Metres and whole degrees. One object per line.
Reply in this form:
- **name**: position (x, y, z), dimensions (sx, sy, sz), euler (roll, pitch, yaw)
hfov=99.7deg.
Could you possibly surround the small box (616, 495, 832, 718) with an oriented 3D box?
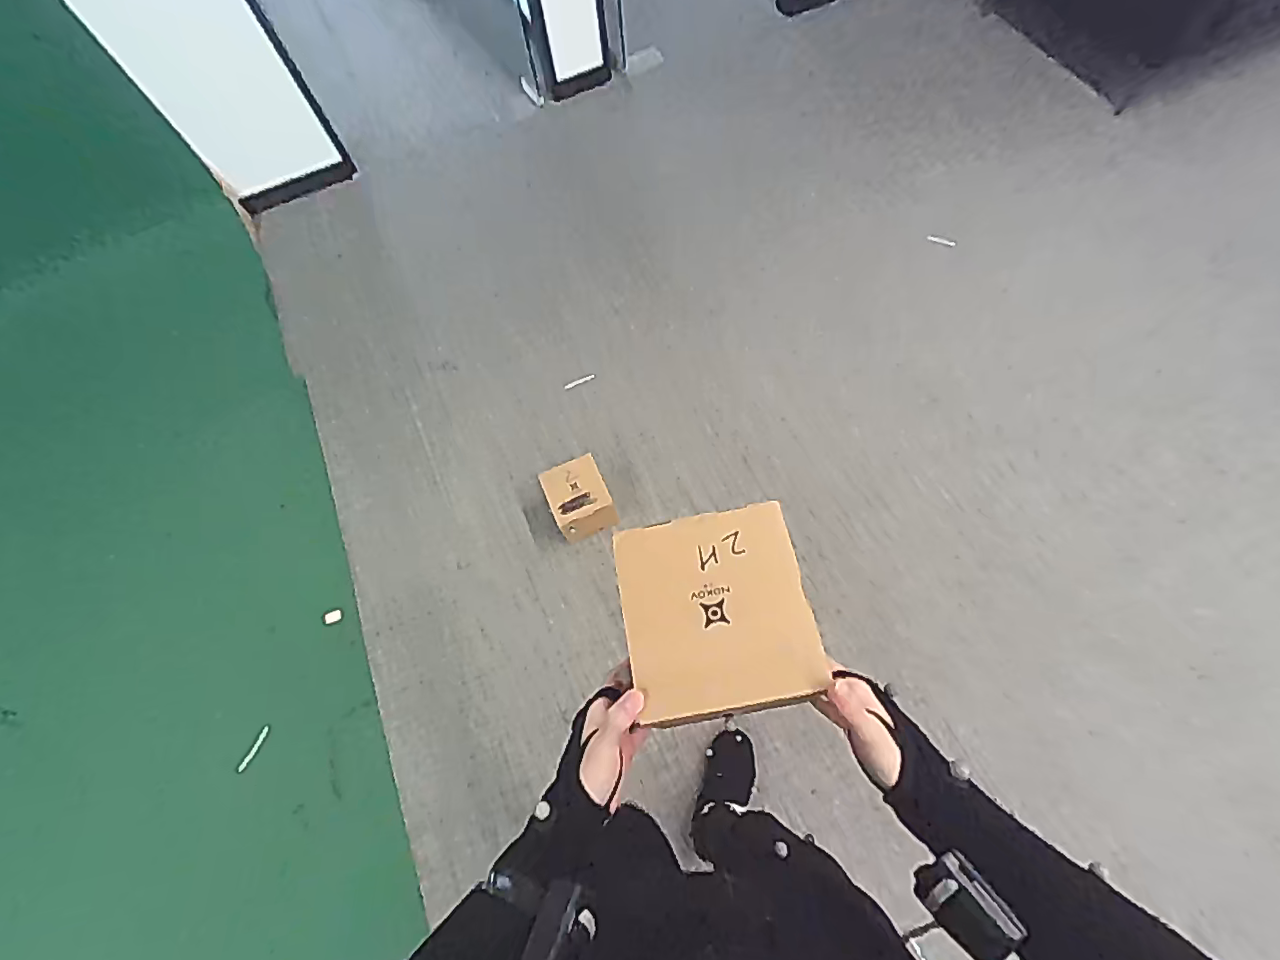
- **small box**: position (0.080, 0.140, 0.557), dimensions (0.168, 0.176, 0.179), euler (-12, 62, 2)
